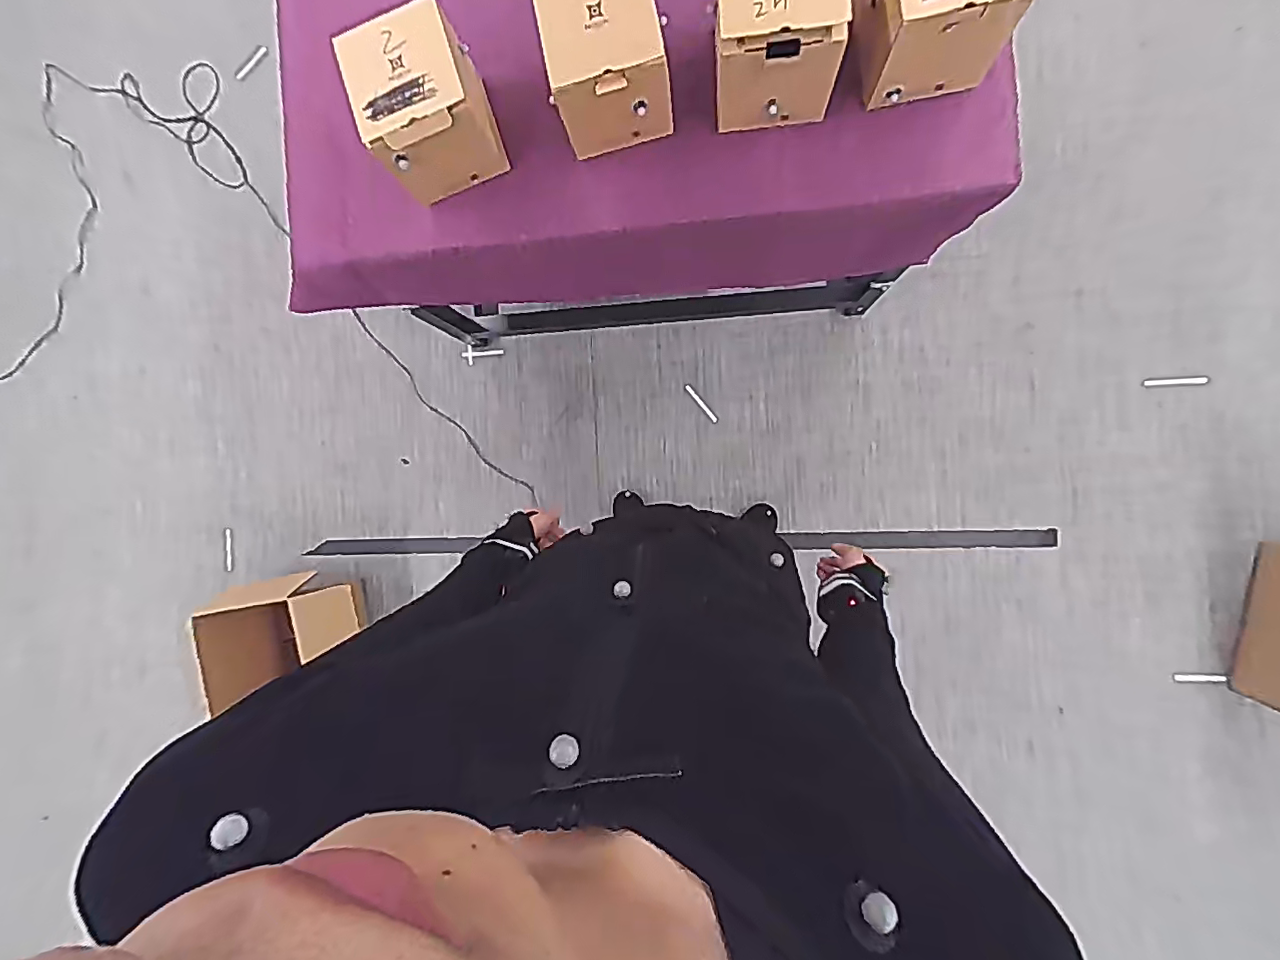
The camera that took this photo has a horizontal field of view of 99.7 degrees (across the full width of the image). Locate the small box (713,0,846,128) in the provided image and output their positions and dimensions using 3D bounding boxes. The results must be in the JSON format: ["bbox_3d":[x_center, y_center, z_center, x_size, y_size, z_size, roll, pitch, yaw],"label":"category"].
[{"bbox_3d":[0.192,-0.655,0.784,0.168,0.176,0.179,-2,90,7],"label":"small box"}]

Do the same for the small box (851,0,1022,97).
[{"bbox_3d":[0.409,-0.679,0.757,0.168,0.176,0.179,-8,89,7],"label":"small box"}]

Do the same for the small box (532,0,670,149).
[{"bbox_3d":[-0.052,-0.637,0.816,0.168,0.176,0.179,-12,89,6],"label":"small box"}]
